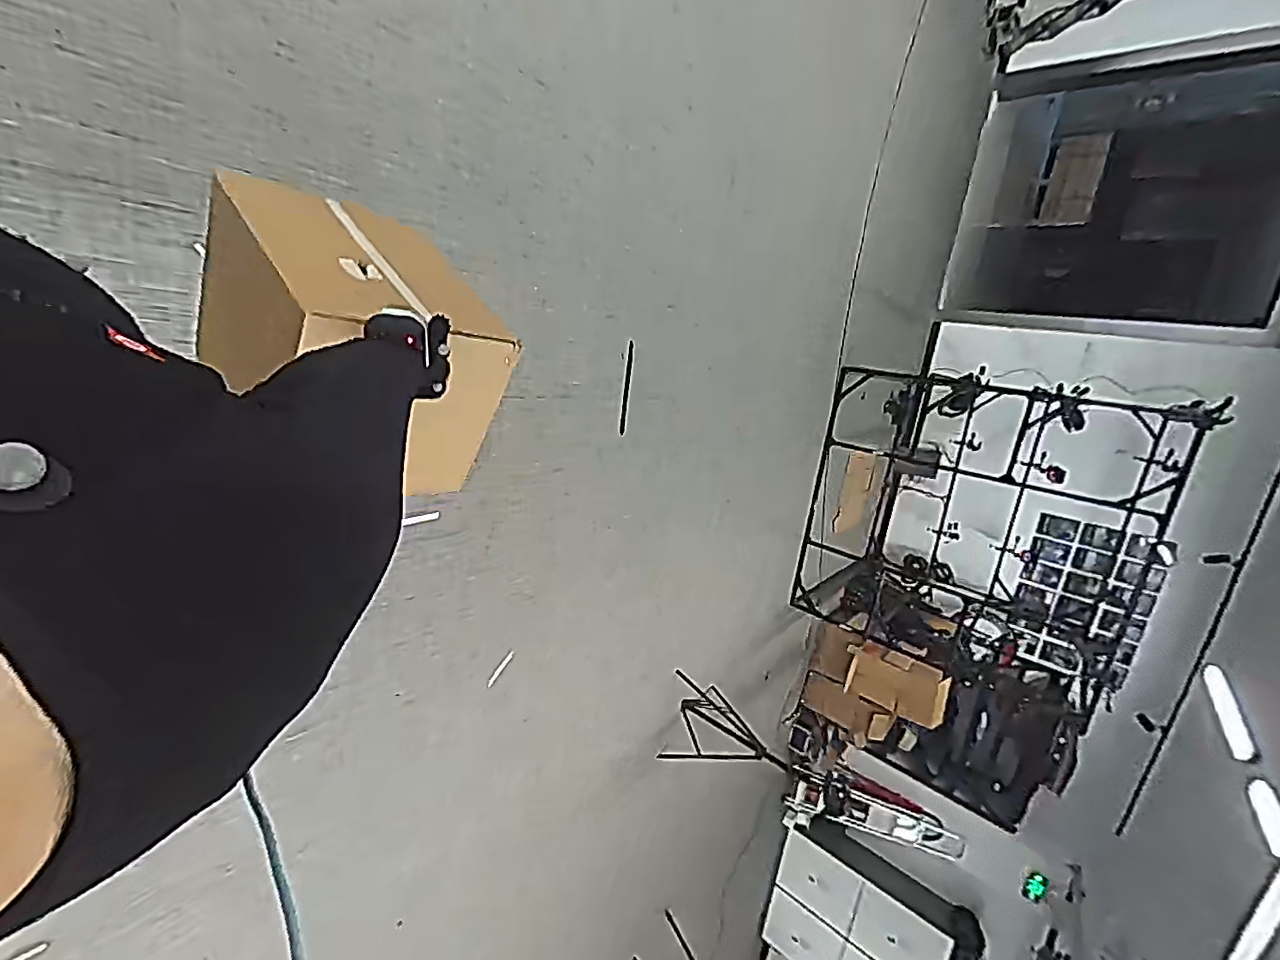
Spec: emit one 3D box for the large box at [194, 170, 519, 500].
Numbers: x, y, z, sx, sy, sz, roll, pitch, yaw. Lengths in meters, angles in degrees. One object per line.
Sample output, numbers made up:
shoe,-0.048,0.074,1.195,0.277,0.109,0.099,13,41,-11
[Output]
large box,-0.482,-0.224,0.899,0.320,0.408,0.320,-8,140,-51
